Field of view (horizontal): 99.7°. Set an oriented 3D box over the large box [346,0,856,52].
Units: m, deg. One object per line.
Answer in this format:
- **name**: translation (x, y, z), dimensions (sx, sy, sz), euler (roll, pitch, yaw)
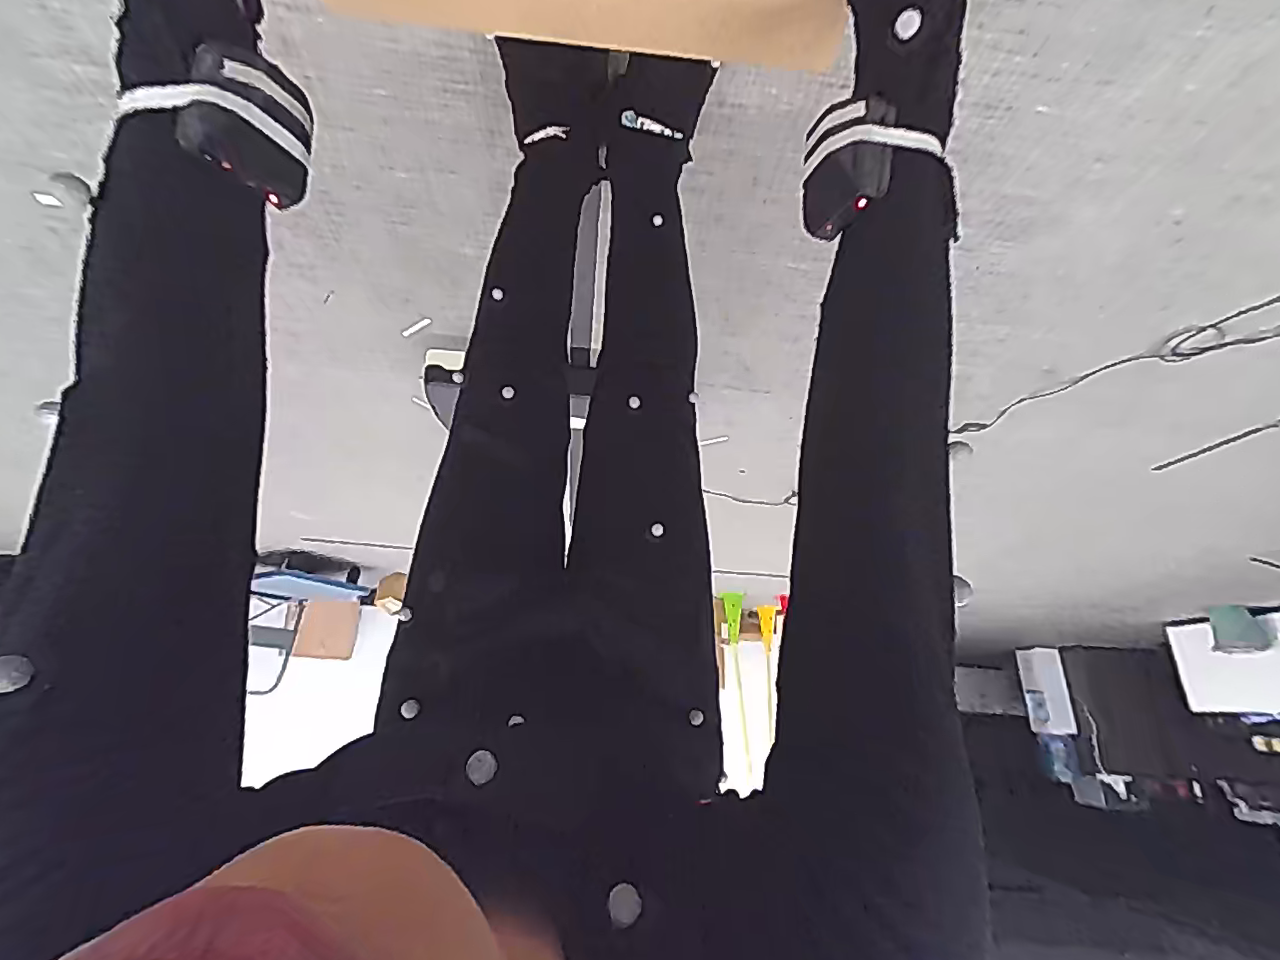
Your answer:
- **large box**: translation (-0.023, -0.558, 0.356), dimensions (0.408, 0.320, 0.320), euler (3, 158, -3)
